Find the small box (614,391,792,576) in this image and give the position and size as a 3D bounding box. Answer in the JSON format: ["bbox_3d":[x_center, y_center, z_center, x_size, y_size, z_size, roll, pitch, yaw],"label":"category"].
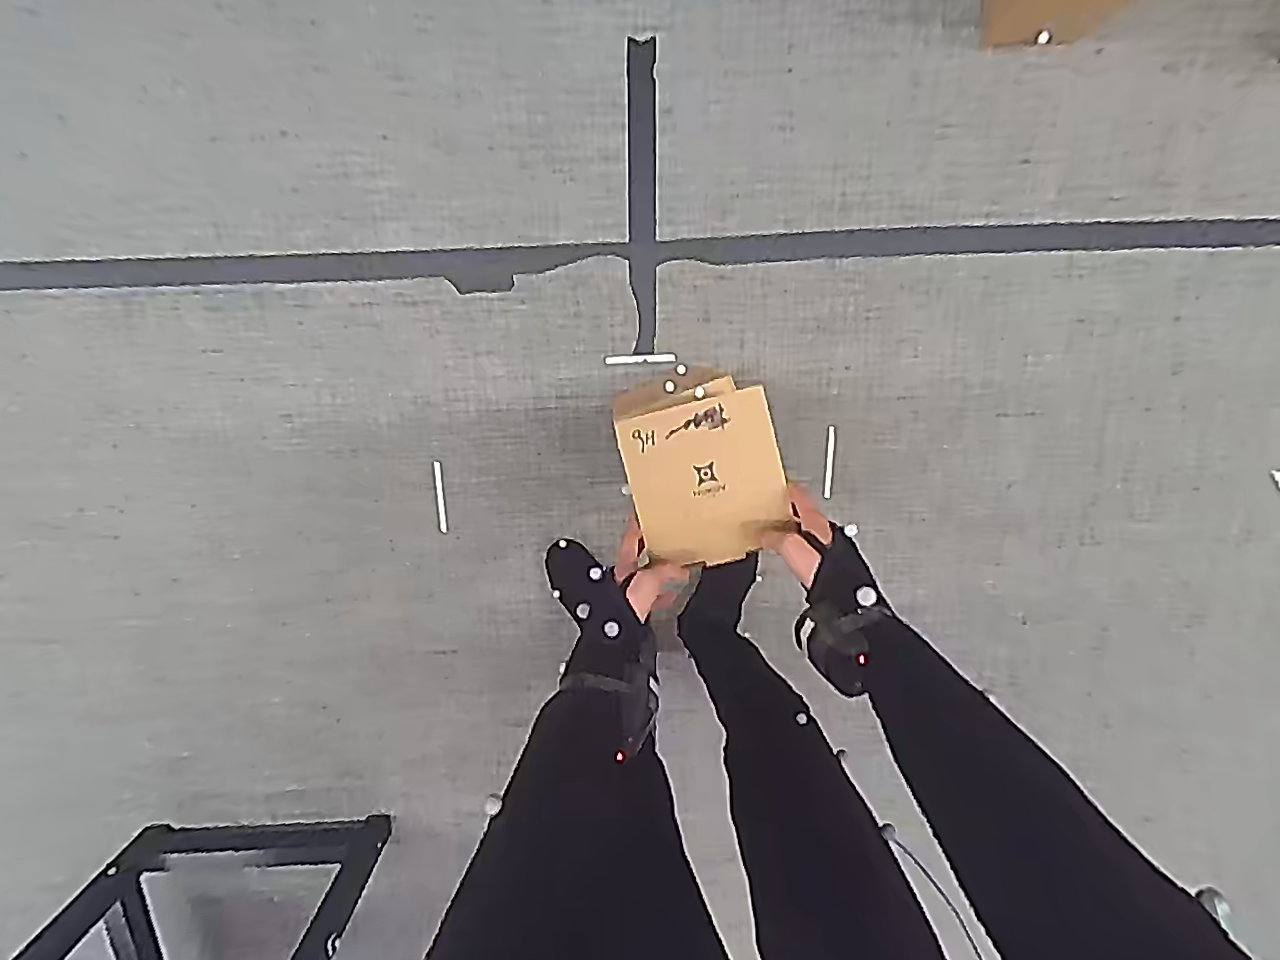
[{"bbox_3d":[0.071,-0.003,0.665,0.168,0.176,0.179,-14,95,2],"label":"small box"}]
